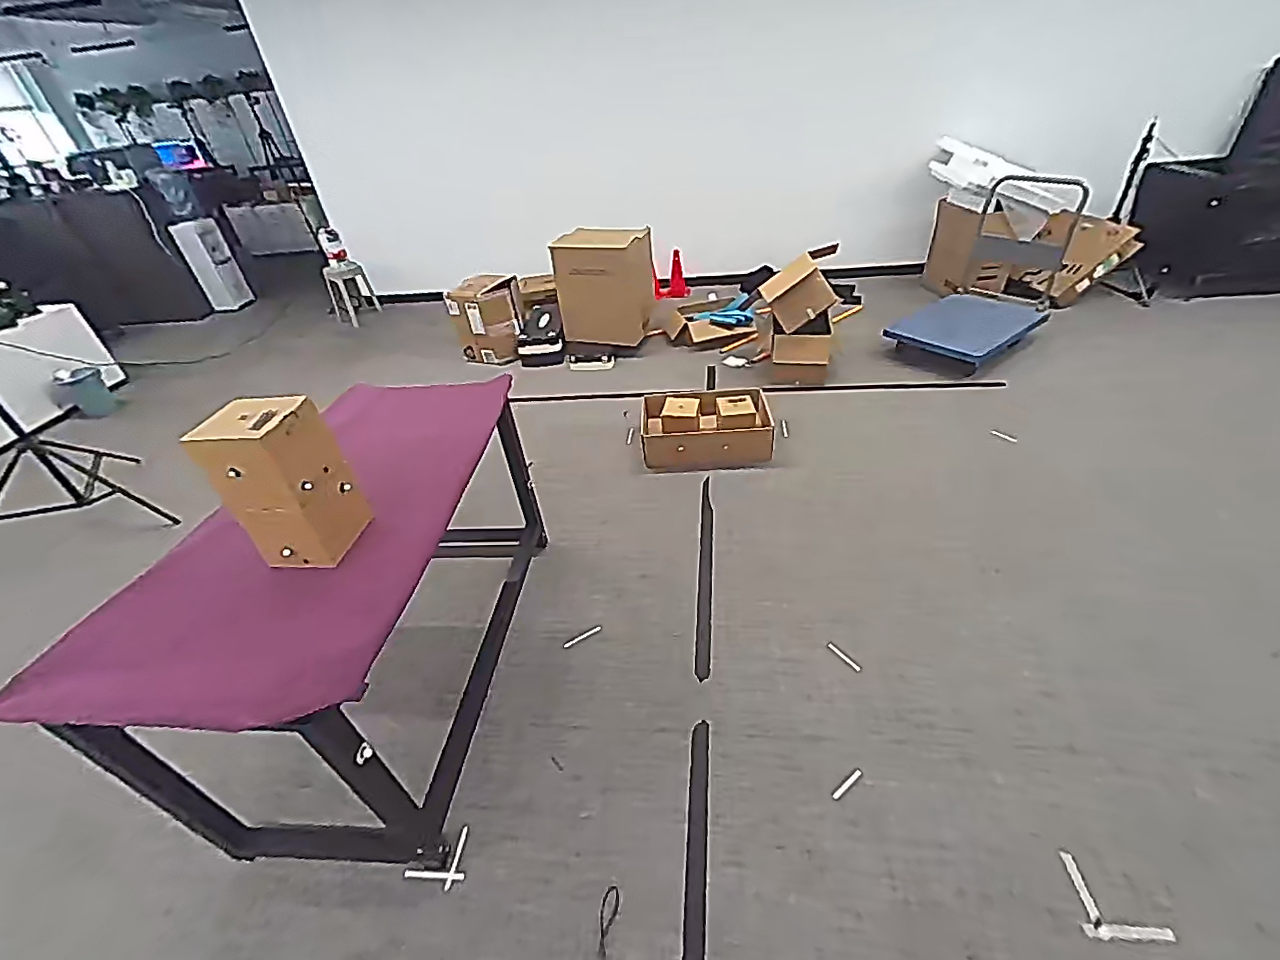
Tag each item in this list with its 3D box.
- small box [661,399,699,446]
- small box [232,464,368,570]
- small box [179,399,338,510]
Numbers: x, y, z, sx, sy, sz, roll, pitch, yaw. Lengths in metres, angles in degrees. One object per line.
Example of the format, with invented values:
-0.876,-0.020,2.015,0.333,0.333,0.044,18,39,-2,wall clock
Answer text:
0.200,-0.286,2.680,0.168,0.176,0.179,4,38,11,small box
-0.743,0.080,1.210,0.168,0.176,0.179,-1,37,9,small box
-0.766,-0.051,1.113,0.179,0.176,0.168,-2,37,7,small box
